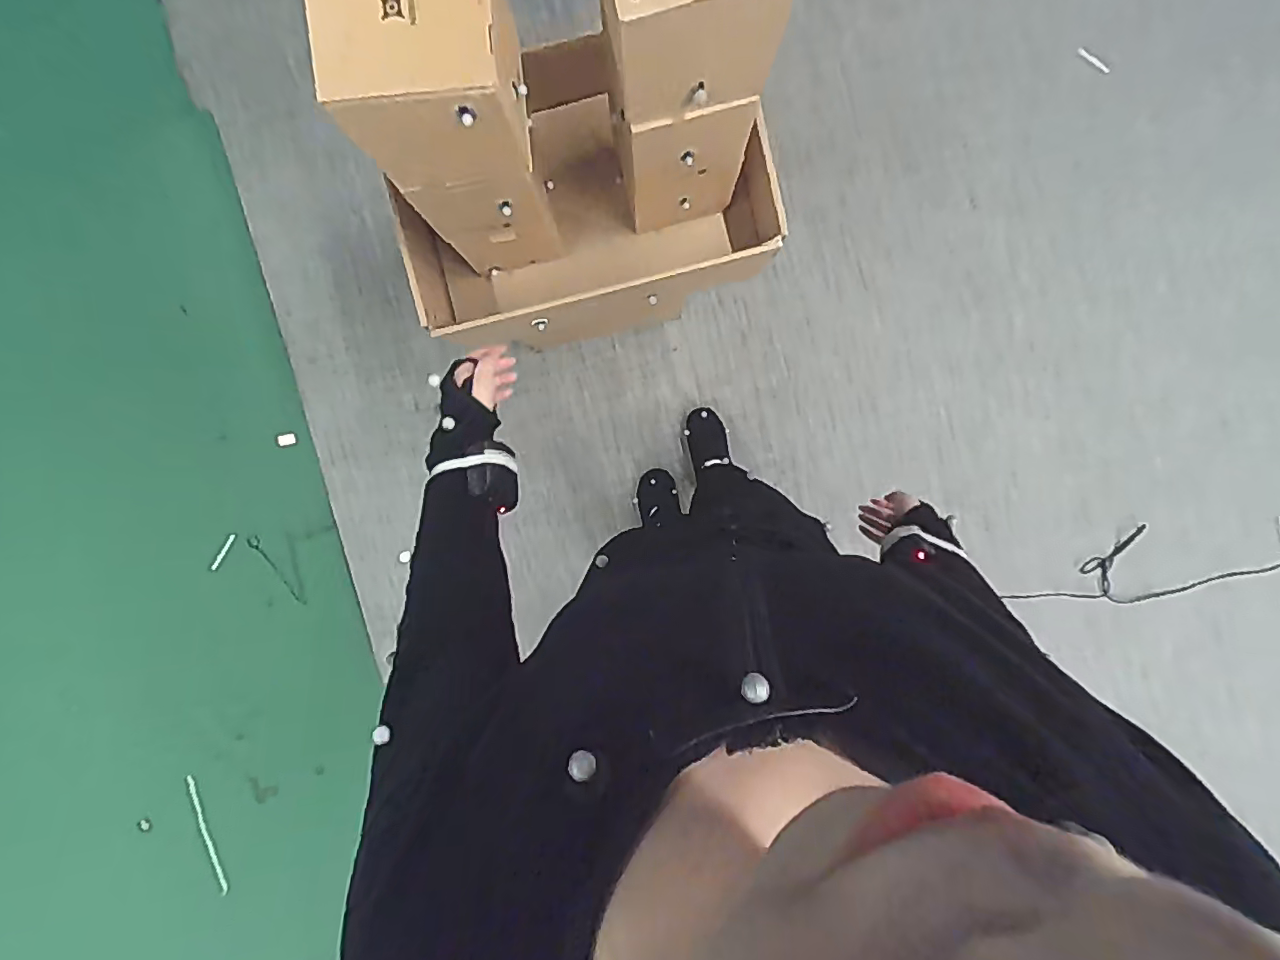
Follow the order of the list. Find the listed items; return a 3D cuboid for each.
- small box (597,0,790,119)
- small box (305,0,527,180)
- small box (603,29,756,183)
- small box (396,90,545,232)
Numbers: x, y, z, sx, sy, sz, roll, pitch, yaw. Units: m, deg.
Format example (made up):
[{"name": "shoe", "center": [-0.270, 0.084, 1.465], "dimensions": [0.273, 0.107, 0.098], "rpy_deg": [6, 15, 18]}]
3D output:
[{"name": "small box", "center": [0.046, -0.530, 0.577], "dimensions": [0.179, 0.176, 0.168], "rpy_deg": [-12, 93, 2]}, {"name": "small box", "center": [-0.234, -0.455, 0.595], "dimensions": [0.179, 0.176, 0.168], "rpy_deg": [-5, 93, -1]}, {"name": "small box", "center": [0.050, -0.538, 0.742], "dimensions": [0.168, 0.176, 0.179], "rpy_deg": [-13, 93, 2]}, {"name": "small box", "center": [-0.236, -0.468, 0.757], "dimensions": [0.168, 0.176, 0.179], "rpy_deg": [-8, 92, 1]}]
